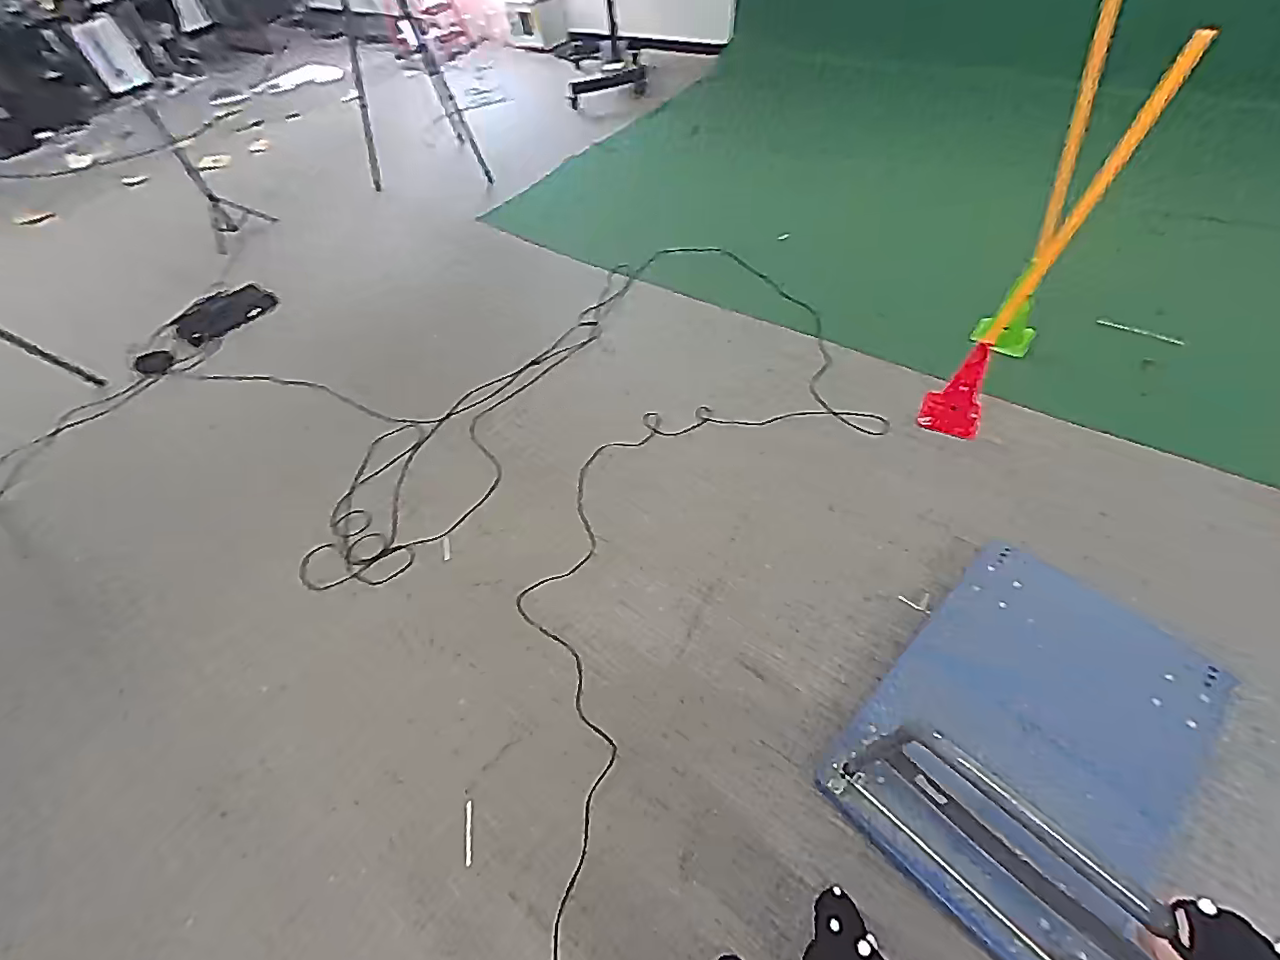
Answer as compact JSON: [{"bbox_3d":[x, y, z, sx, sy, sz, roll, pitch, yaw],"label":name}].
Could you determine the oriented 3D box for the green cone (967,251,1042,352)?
[{"bbox_3d":[1.486,-0.721,2.134,0.200,0.368,0.202,27,60,25],"label":"green cone"}]
